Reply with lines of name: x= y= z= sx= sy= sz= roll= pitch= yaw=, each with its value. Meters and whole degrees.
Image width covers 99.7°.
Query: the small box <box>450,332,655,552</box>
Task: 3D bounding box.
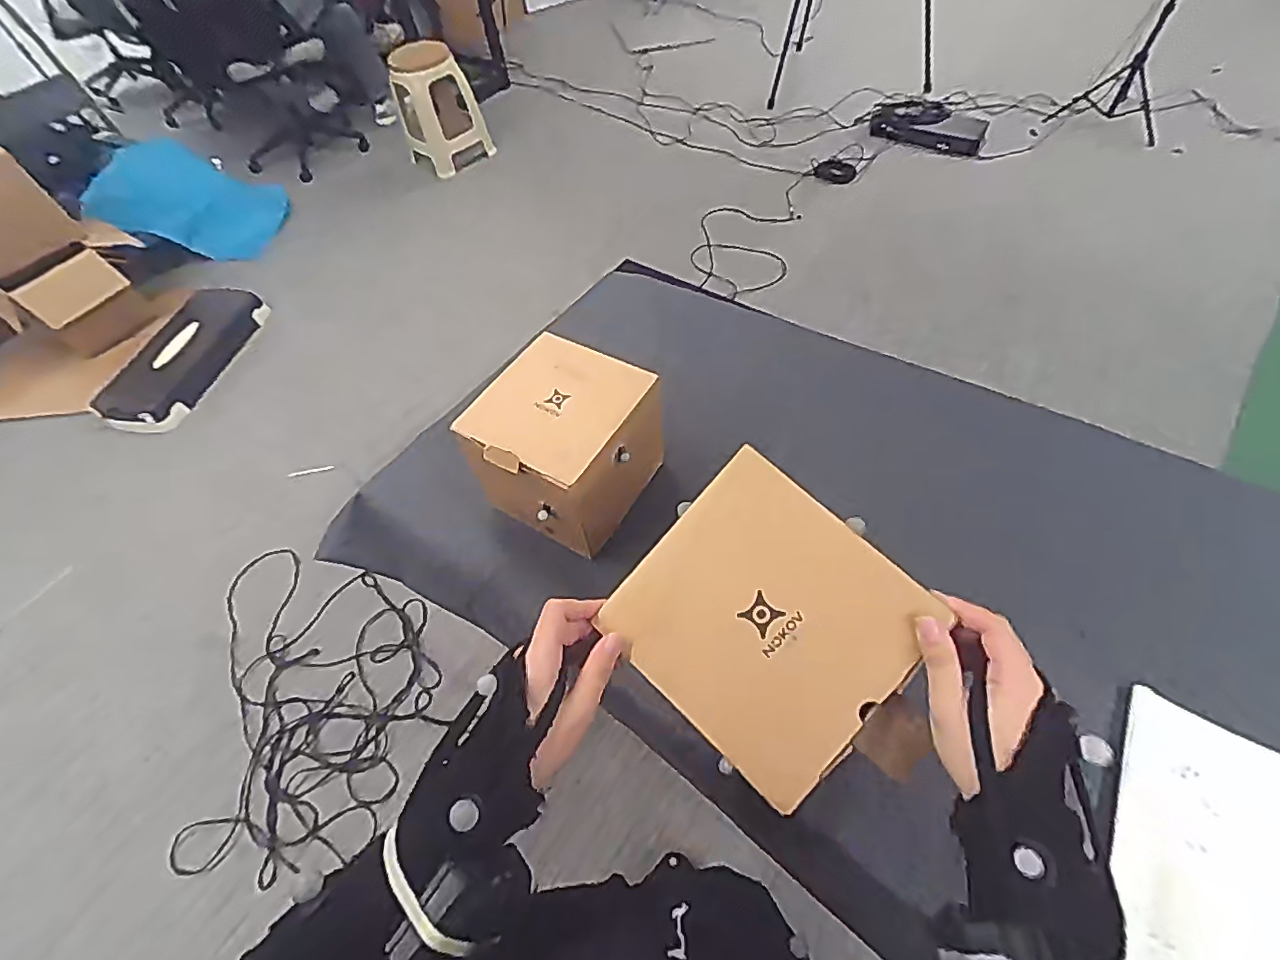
small box: x=-0.089 y=-0.042 z=0.661 sx=0.168 sy=0.176 sz=0.179 roll=25 pitch=61 yaw=19
